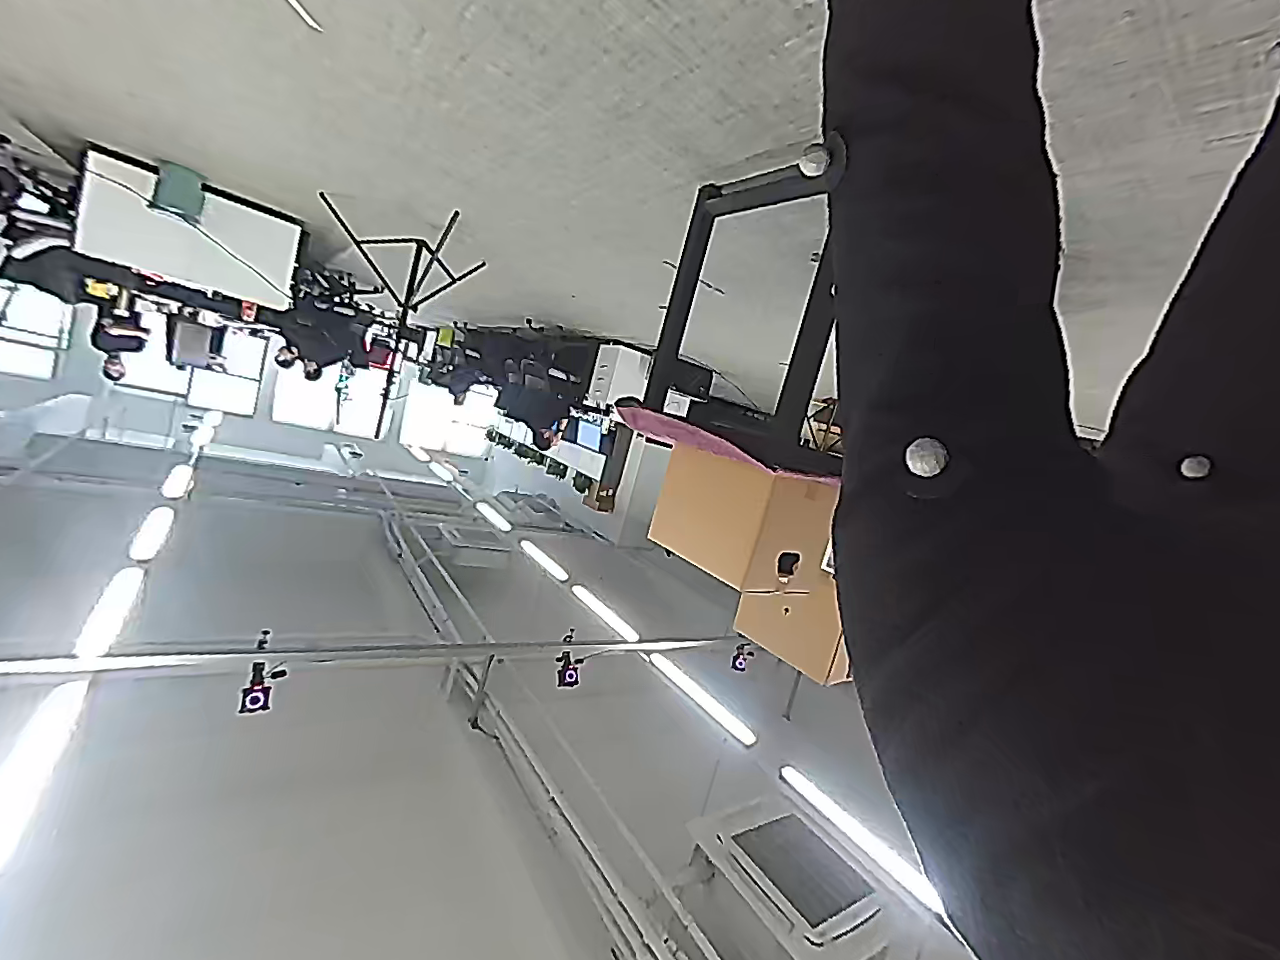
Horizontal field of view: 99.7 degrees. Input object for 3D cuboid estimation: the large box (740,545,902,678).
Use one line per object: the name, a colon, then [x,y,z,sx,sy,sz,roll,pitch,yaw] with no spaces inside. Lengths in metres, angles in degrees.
large box: [0.627,0.439,1.911,0.320,0.320,0.408,5,-169,-37]
